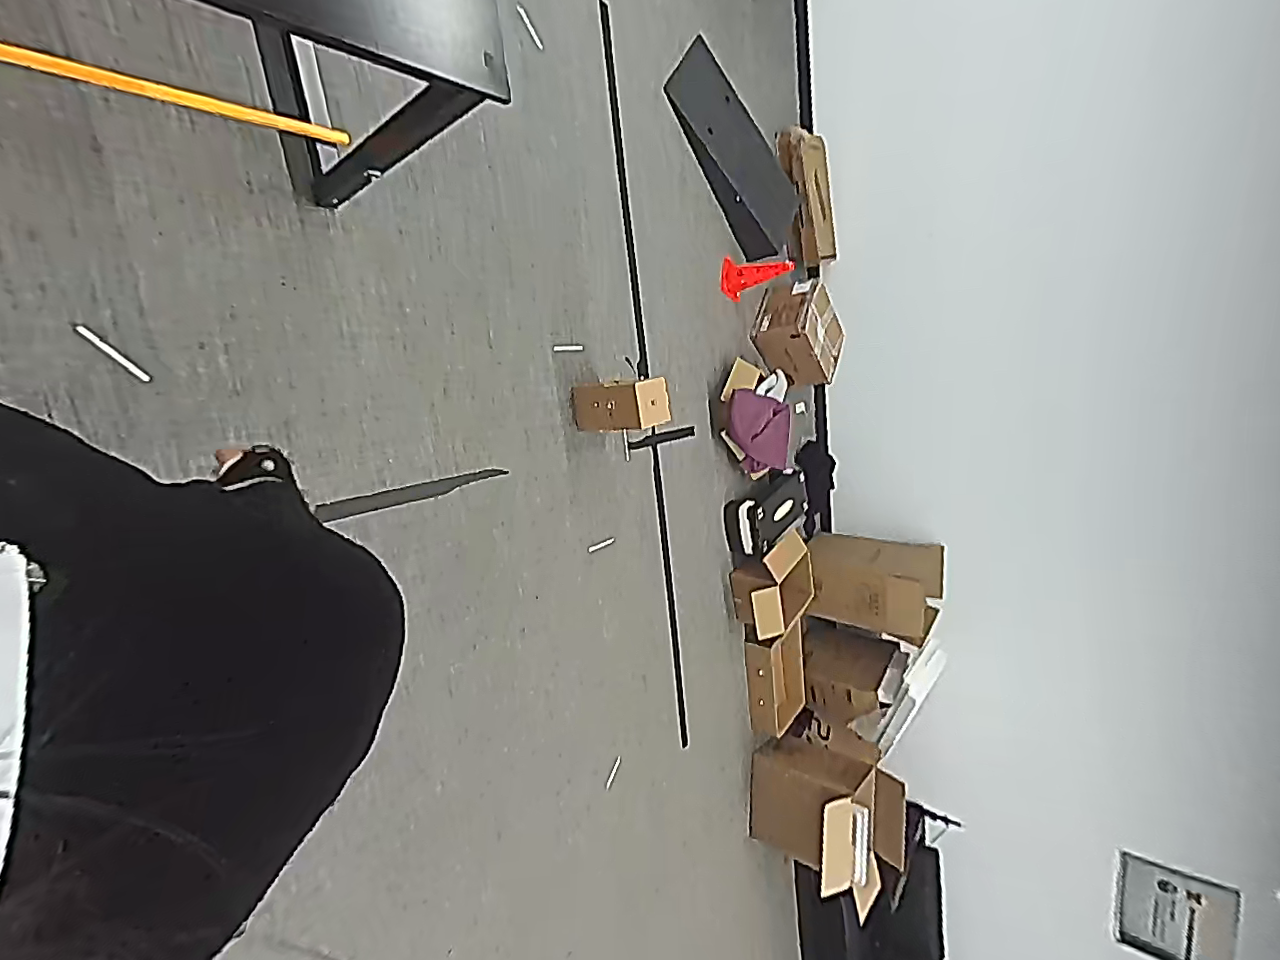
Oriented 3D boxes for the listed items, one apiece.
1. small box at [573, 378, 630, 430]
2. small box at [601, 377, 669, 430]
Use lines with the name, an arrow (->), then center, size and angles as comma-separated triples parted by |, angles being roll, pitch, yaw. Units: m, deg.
small box -> -0.141, -0.292, 2.092 | 0.168, 0.176, 0.179 | -21, 108, -48
small box -> -0.018, -0.282, 1.987 | 0.179, 0.176, 0.168 | -23, 108, -46
